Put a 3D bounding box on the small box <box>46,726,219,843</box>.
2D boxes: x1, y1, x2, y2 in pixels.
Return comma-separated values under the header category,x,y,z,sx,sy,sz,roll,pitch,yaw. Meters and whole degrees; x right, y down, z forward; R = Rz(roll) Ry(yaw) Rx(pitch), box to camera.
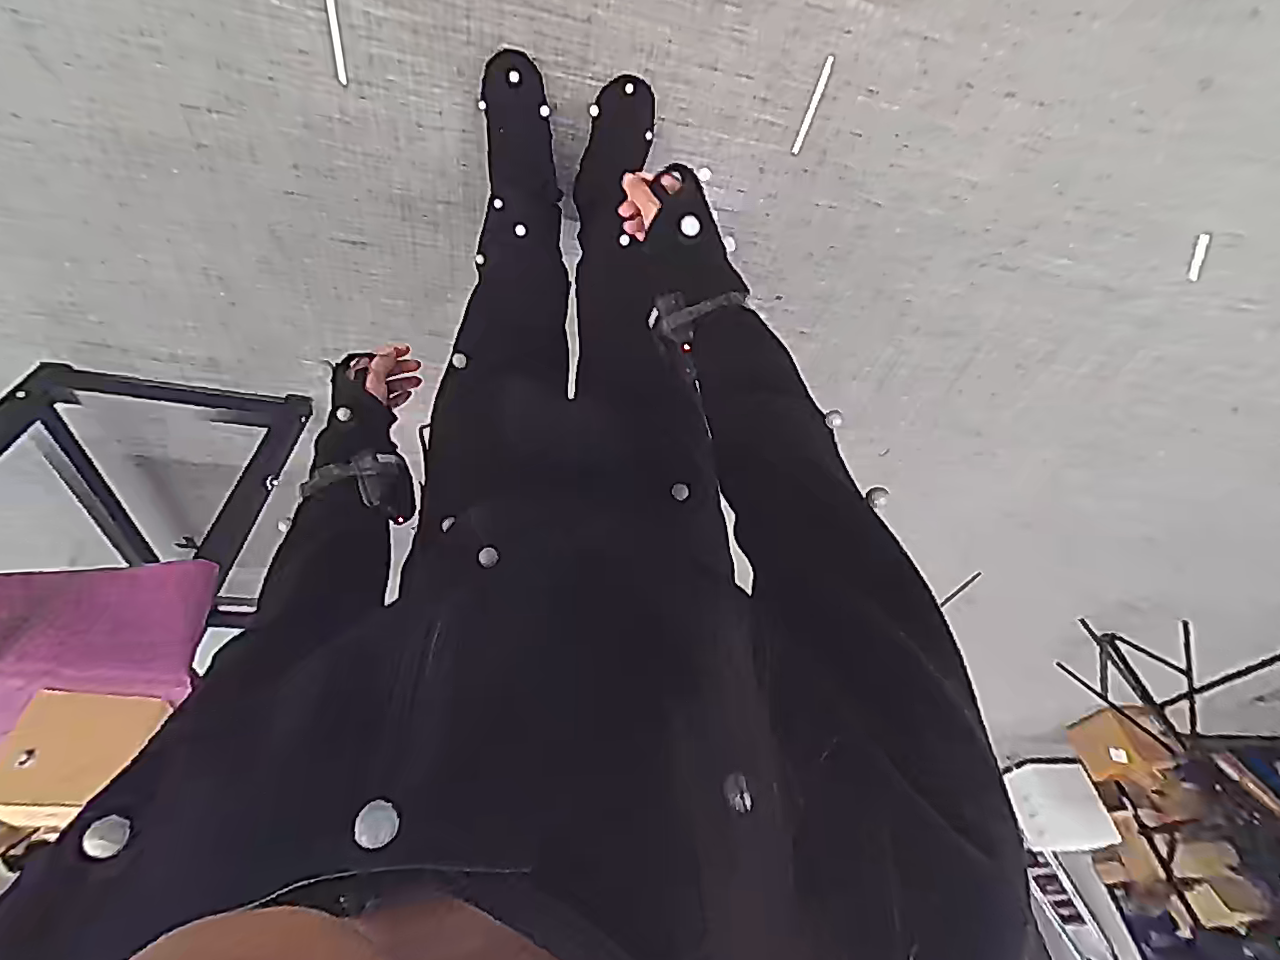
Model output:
category,x,y,z,sx,sy,sz,roll,pitch,yaw
small box,-0.980,0.597,1.066,0.168,0.176,0.179,6,137,-13
